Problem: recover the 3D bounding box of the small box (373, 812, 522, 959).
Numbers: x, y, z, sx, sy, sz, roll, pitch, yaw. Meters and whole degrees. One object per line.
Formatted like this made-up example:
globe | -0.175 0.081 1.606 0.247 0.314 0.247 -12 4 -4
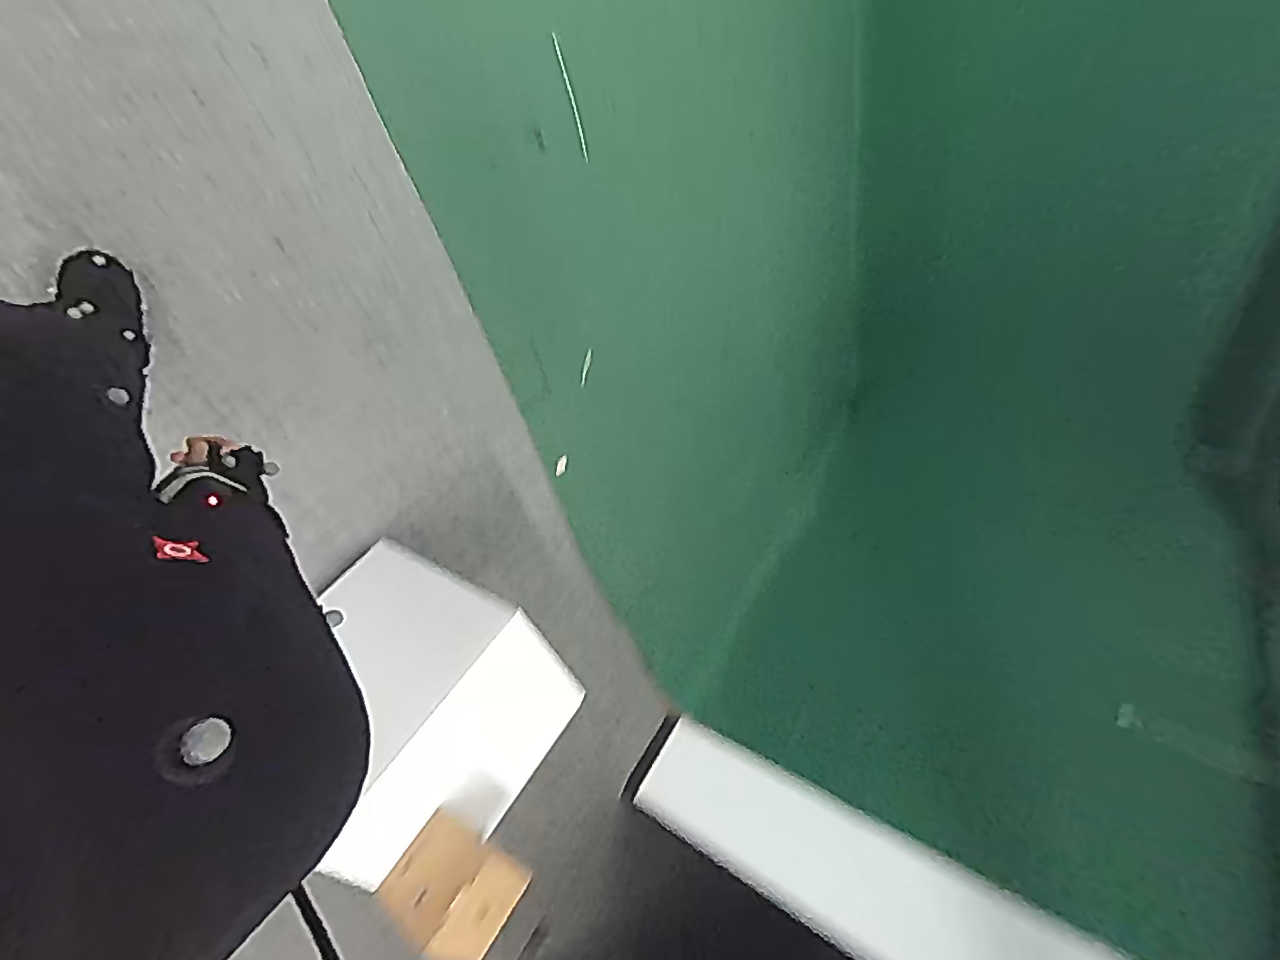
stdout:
small box | -0.365 0.773 1.029 0.168 0.176 0.179 -50 138 -31
